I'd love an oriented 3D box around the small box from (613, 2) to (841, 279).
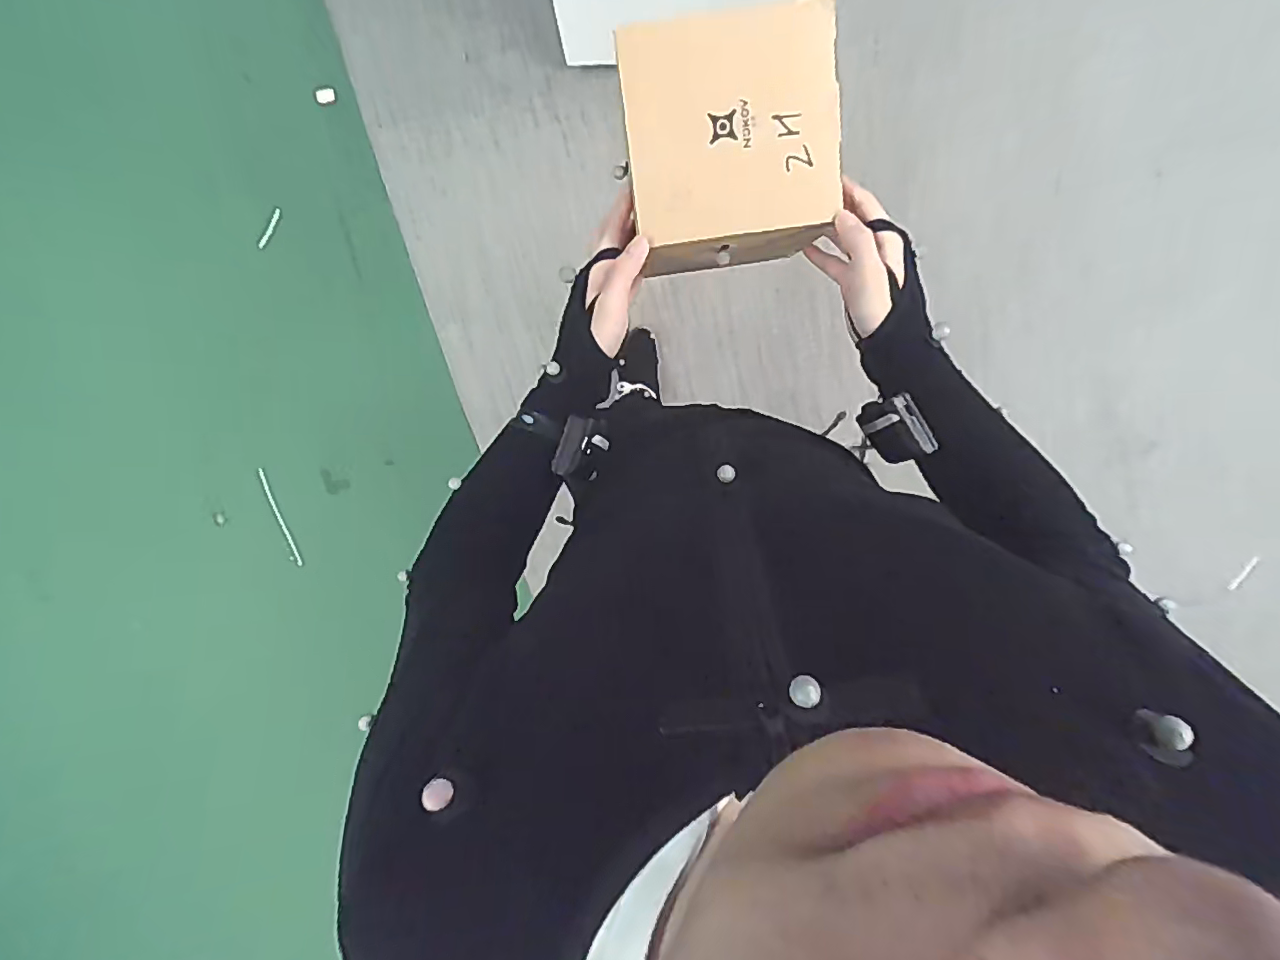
[{"bbox_3d":[0.074,-0.299,0.518,0.179,0.176,0.168,-7,101,2],"label":"small box"}]
